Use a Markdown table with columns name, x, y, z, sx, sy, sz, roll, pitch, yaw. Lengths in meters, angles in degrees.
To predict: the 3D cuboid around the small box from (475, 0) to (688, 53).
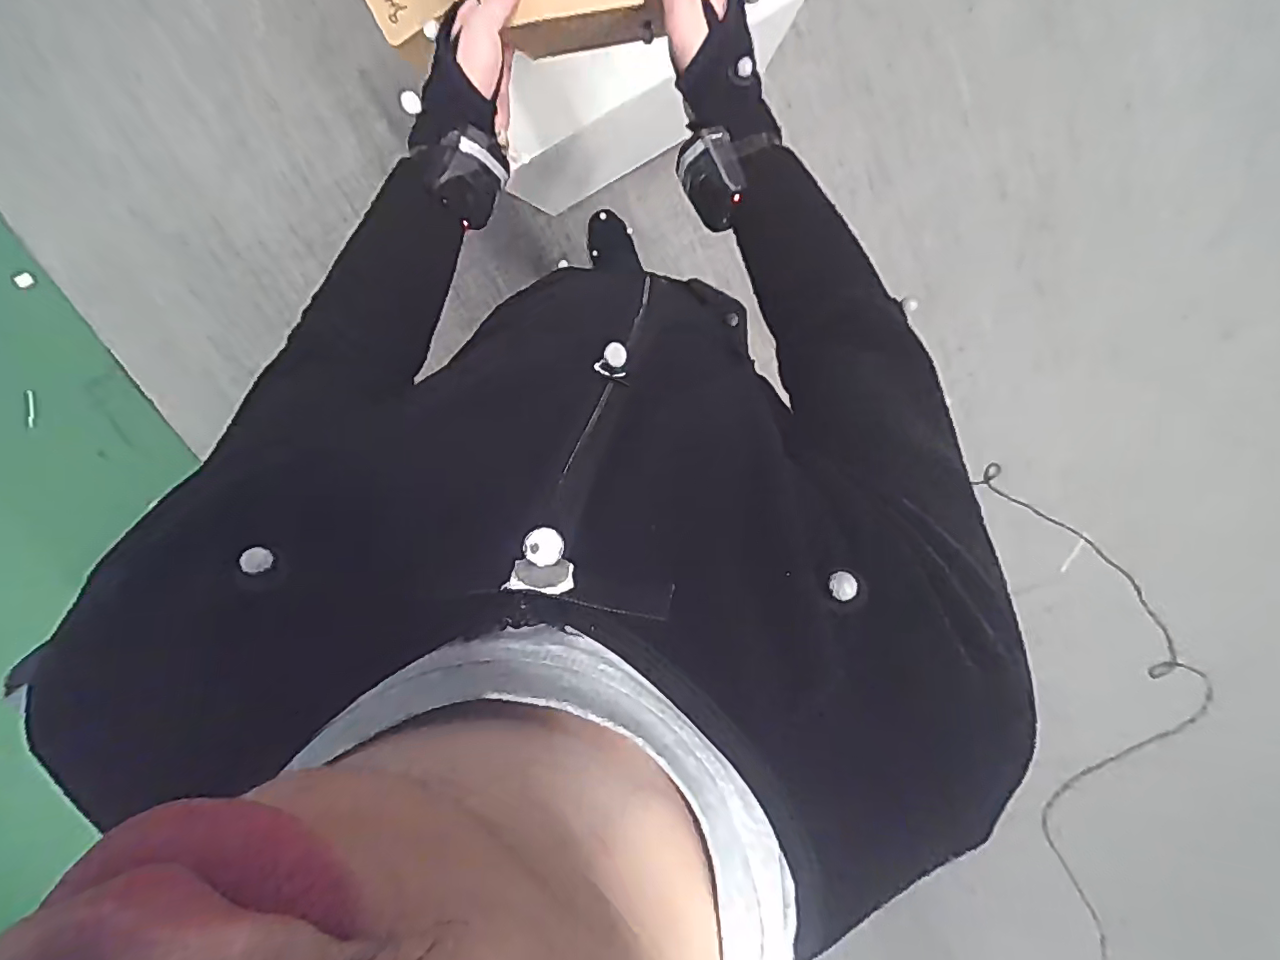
| name | x | y | z | sx | sy | sz | roll | pitch | yaw |
| --- | --- | --- | --- | --- | --- | --- | --- | --- | --- |
| small box | -0.050 | -0.487 | 0.454 | 0.179 | 0.176 | 0.168 | -5 | 120 | 9 |

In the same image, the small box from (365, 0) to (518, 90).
| name | x | y | z | sx | sy | sz | roll | pitch | yaw |
| --- | --- | --- | --- | --- | --- | --- | --- | --- | --- |
| small box | -0.238 | -0.614 | 0.642 | 0.179 | 0.176 | 0.168 | -25 | 108 | 9 |
